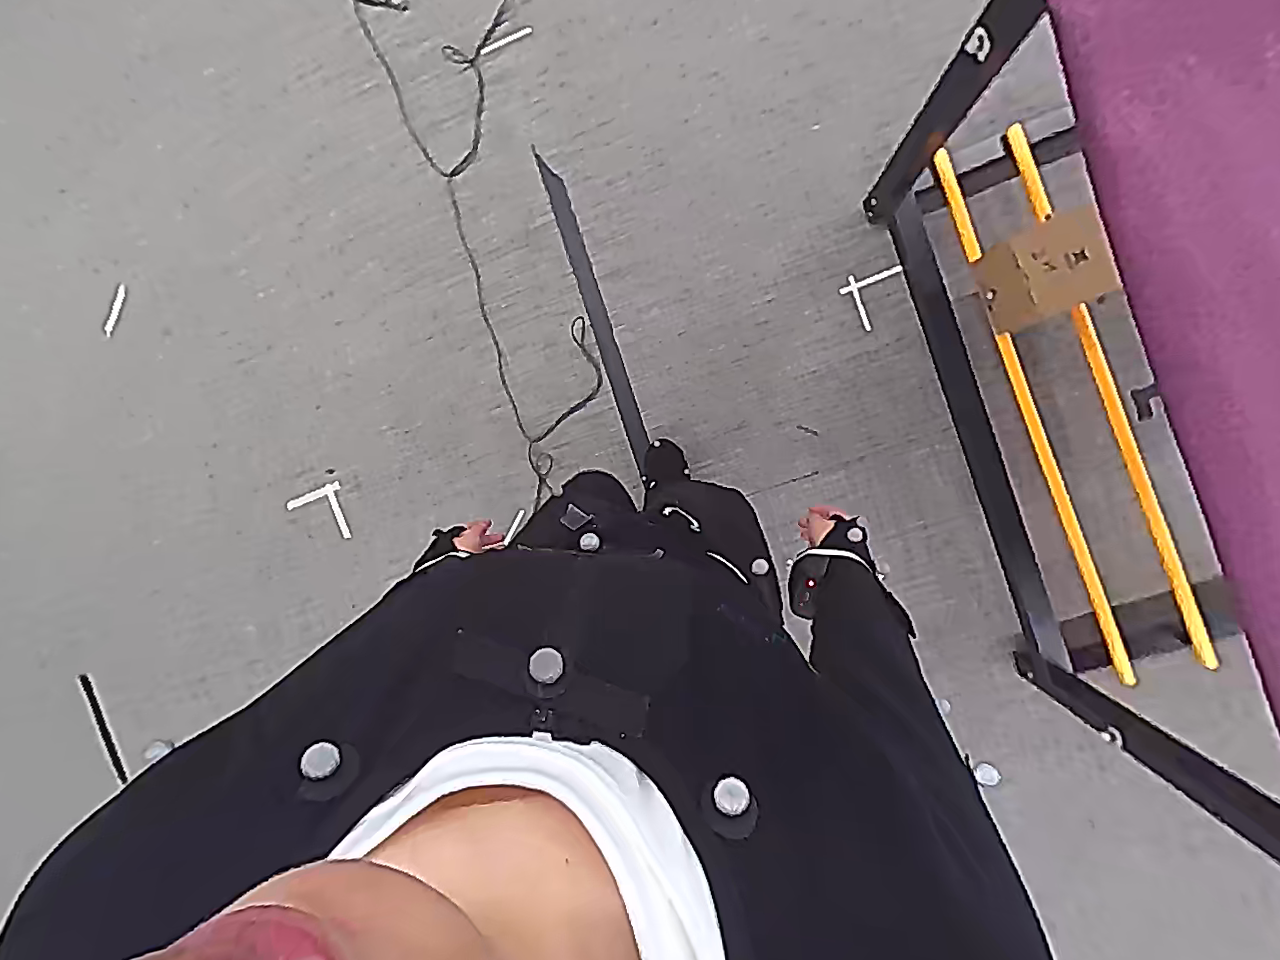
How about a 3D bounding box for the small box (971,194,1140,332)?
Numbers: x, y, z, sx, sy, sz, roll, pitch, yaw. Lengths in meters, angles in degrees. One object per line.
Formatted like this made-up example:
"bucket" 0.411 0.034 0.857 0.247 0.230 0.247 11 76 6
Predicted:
"small box" 0.787 -0.407 1.044 0.179 0.176 0.168 -22 91 10
